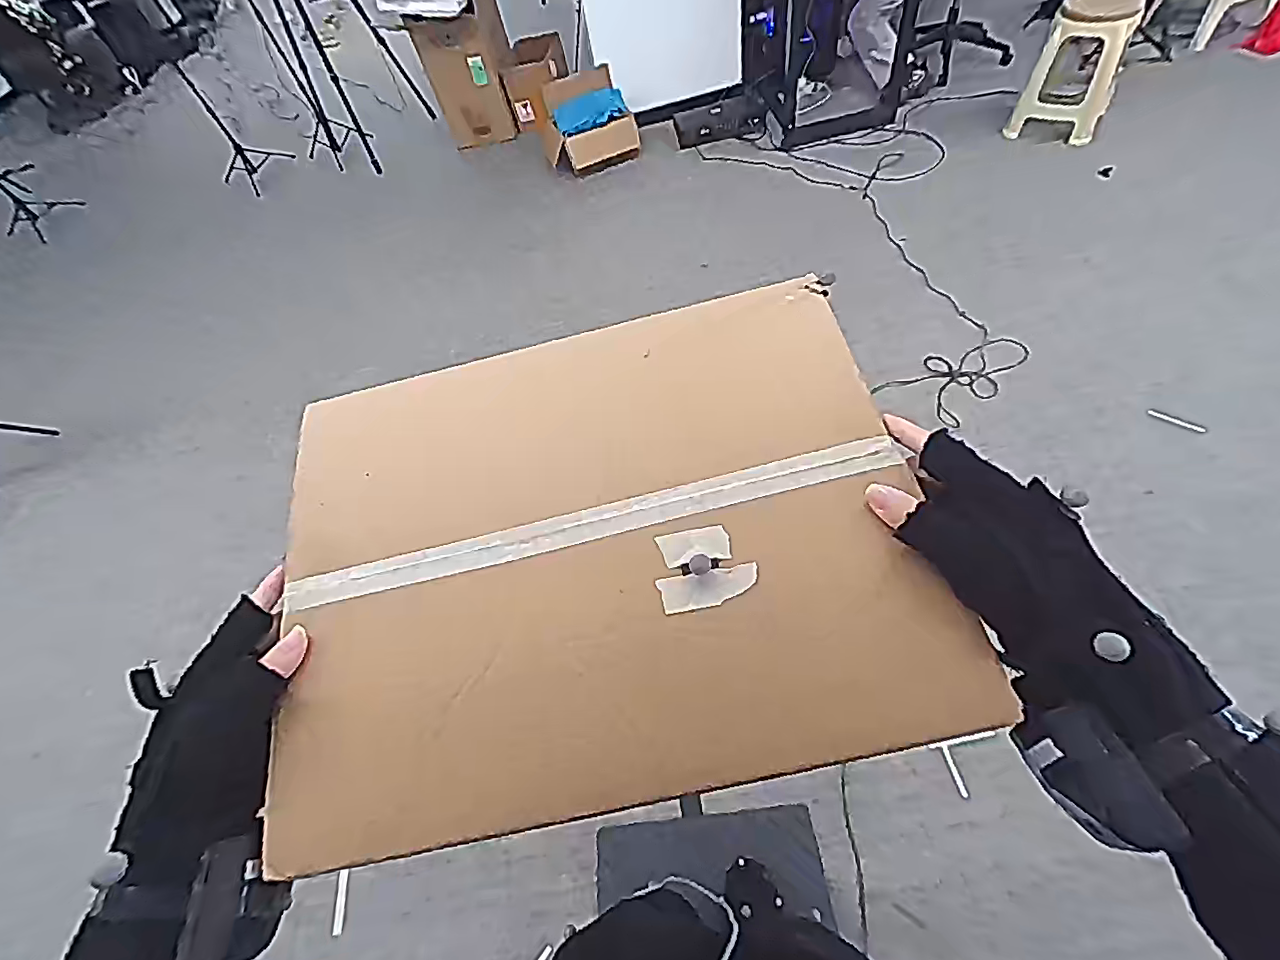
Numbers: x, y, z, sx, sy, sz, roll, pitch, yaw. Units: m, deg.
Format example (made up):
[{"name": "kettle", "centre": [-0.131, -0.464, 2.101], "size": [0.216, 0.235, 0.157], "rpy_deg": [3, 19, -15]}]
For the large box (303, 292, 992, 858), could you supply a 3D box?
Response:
[{"name": "large box", "centre": [-0.010, 0.096, 0.496], "size": [0.408, 0.320, 0.320], "rpy_deg": [-14, 64, 2]}]

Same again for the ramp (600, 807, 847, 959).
[{"name": "ramp", "centre": [0.175, 1.136, 0.899], "size": [0.509, 0.206, 0.991], "rpy_deg": [-12, 54, 5]}]
